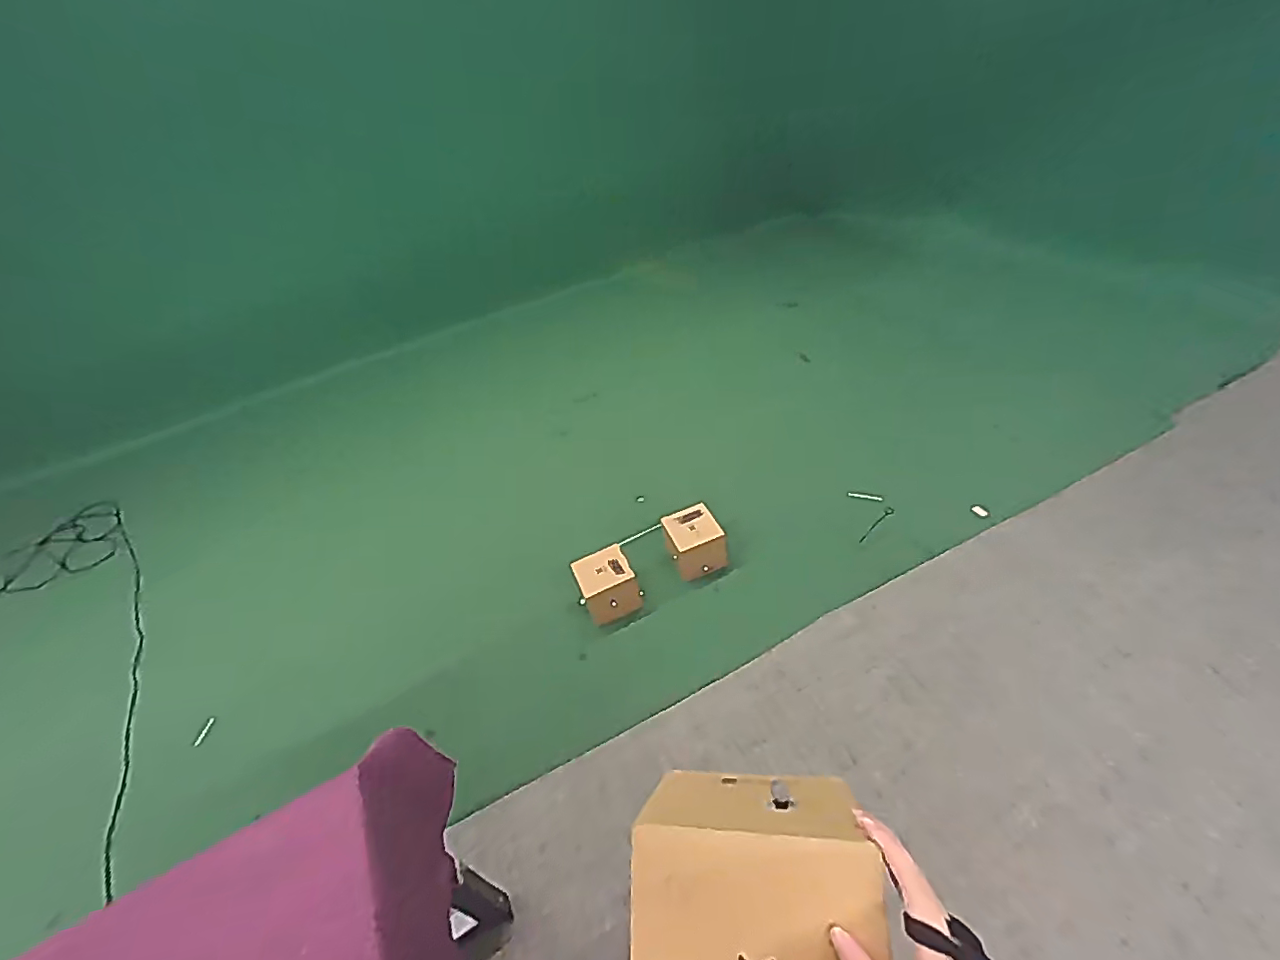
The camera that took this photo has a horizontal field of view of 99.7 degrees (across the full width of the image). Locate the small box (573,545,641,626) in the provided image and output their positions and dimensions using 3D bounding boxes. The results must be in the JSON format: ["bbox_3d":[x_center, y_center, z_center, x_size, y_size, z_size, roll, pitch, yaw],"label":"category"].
[{"bbox_3d":[-0.105,0.357,1.824,0.179,0.176,0.168,-24,42,-10],"label":"small box"}]
